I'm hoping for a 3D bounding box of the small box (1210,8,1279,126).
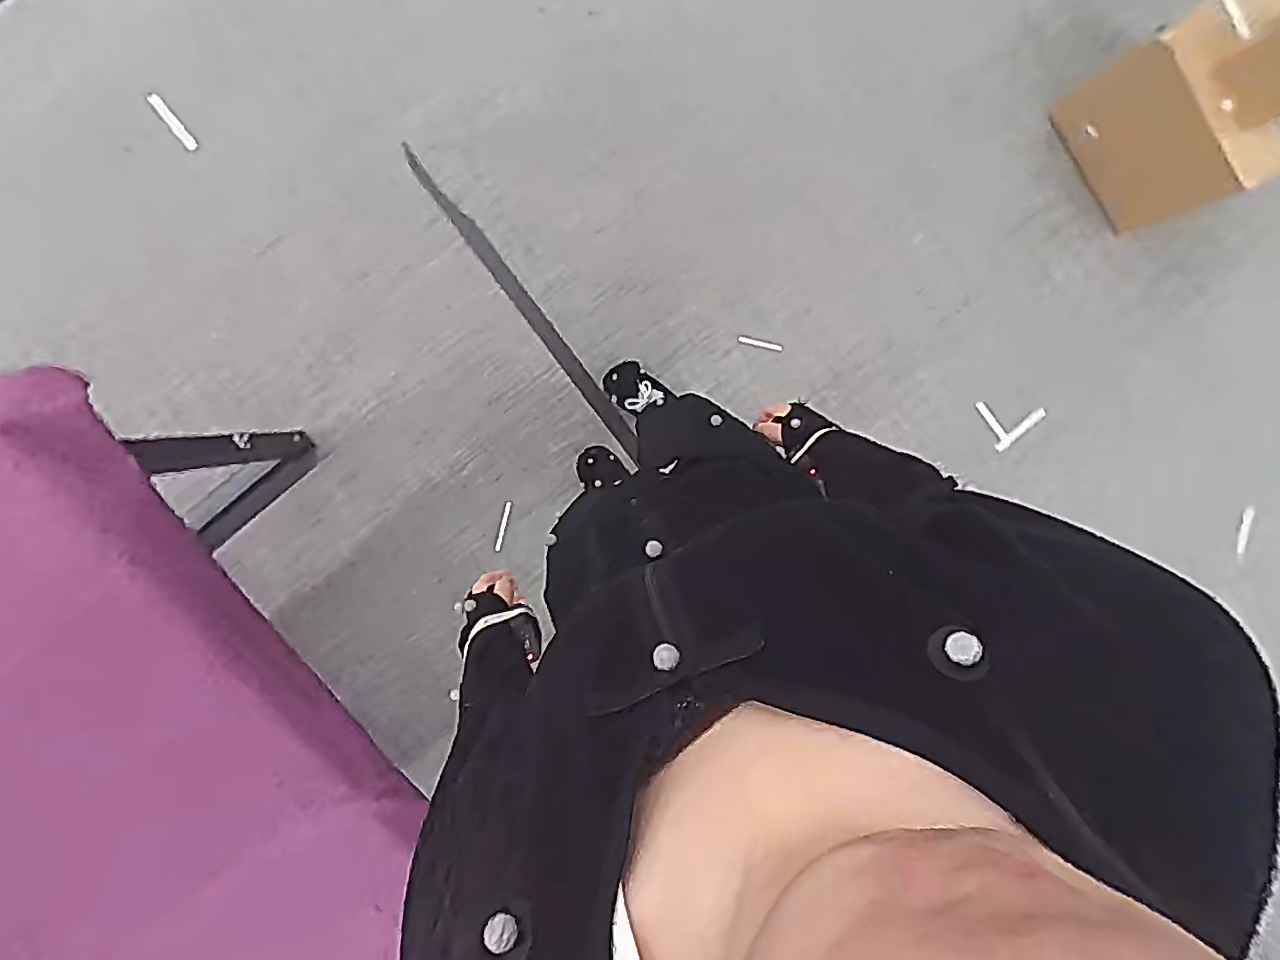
[{"bbox_3d":[1.343,-0.878,1.100,0.168,0.176,0.179,-39,98,2],"label":"small box"}]
